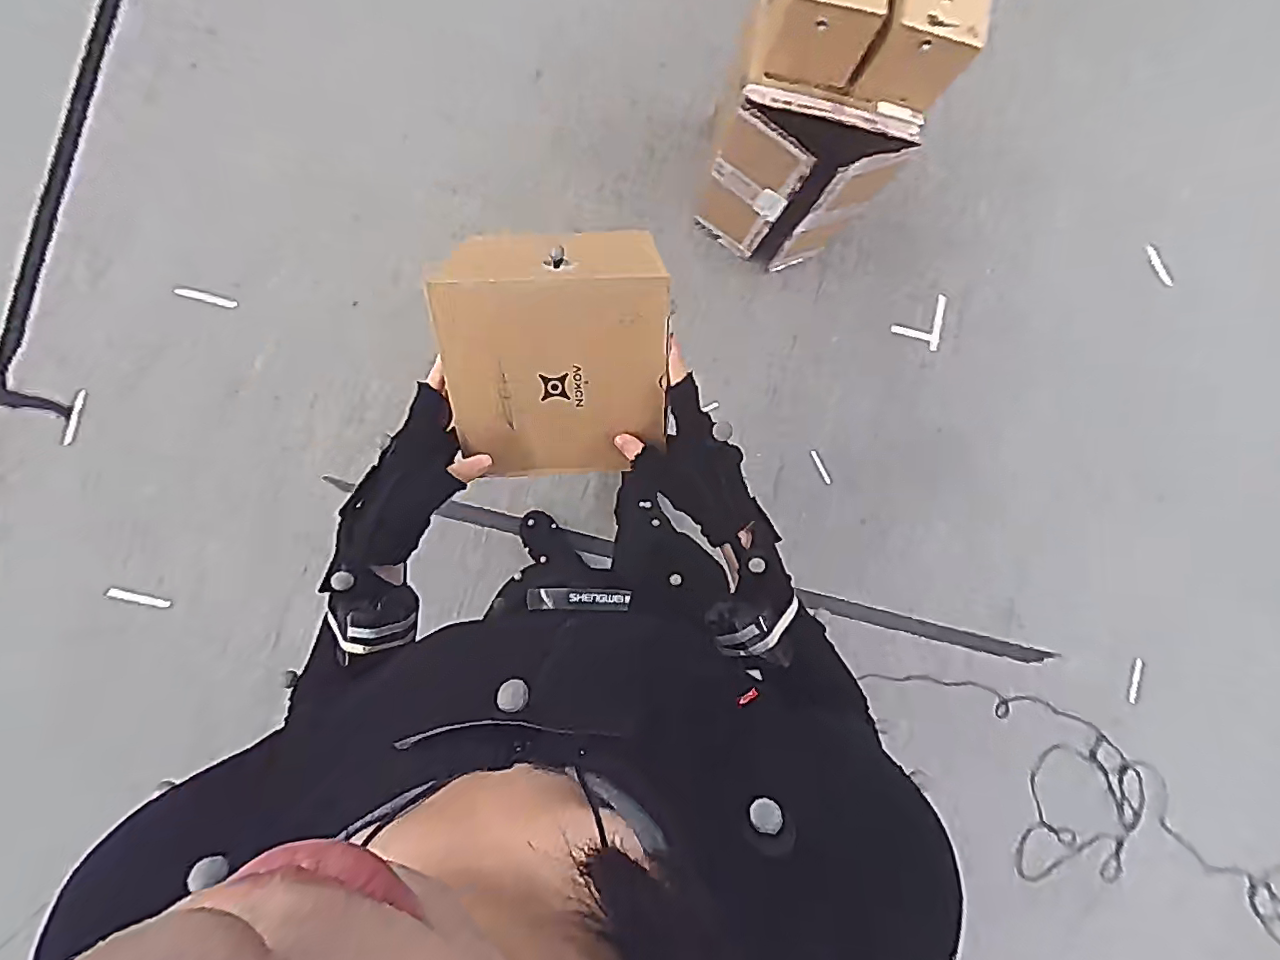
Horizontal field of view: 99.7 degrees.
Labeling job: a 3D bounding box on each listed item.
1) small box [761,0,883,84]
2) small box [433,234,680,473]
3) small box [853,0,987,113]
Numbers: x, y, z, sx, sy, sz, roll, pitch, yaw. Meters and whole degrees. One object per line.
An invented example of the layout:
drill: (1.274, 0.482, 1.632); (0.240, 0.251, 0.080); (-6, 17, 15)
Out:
small box: (0.343, -0.902, 1.030); (0.179, 0.176, 0.168); (7, 86, -5)
small box: (-0.064, -0.121, 0.488); (0.179, 0.176, 0.168); (-3, 123, -3)
small box: (0.537, -0.870, 1.052); (0.168, 0.176, 0.179); (10, 86, -8)
